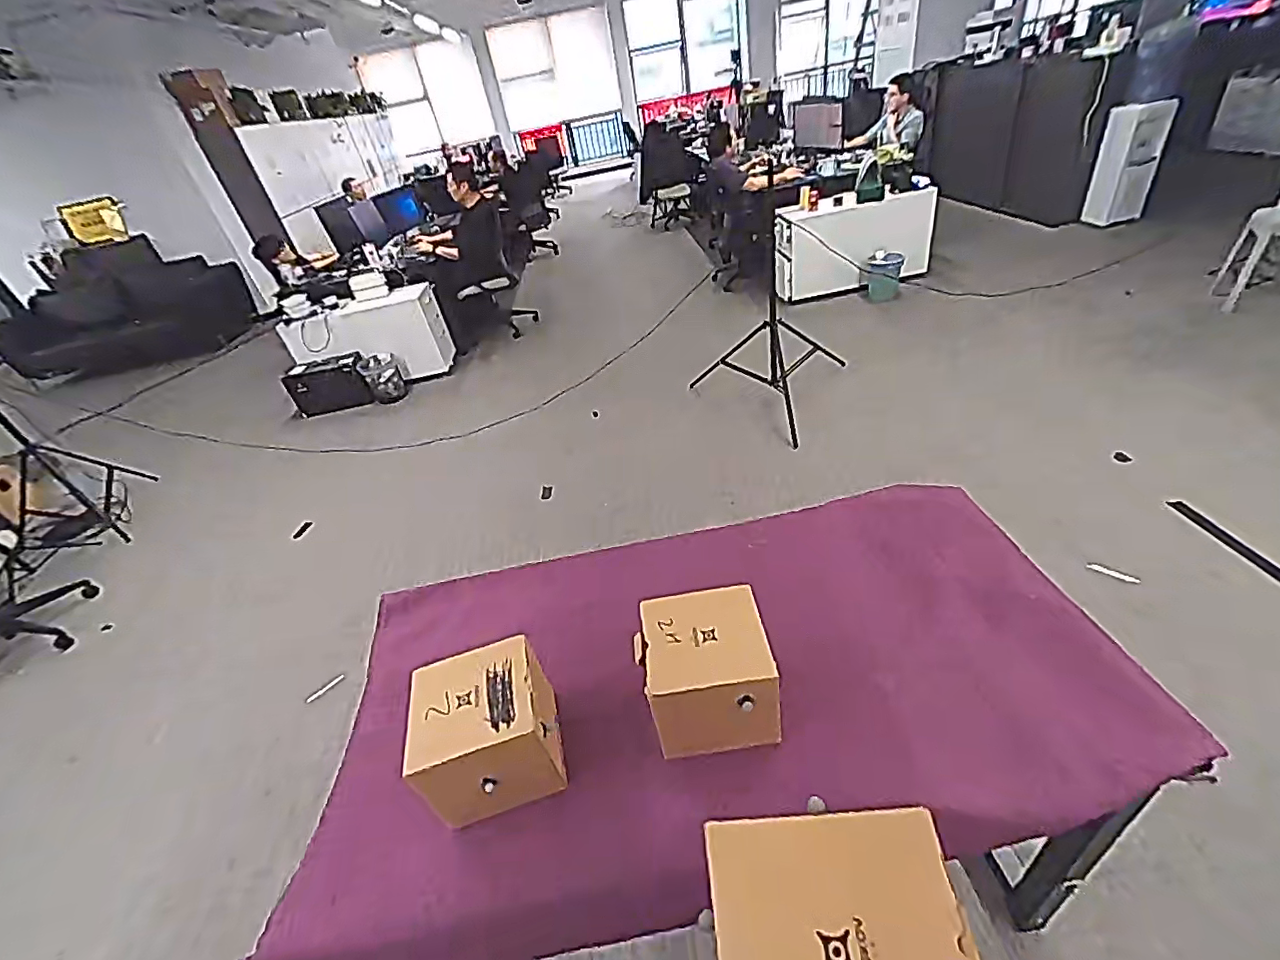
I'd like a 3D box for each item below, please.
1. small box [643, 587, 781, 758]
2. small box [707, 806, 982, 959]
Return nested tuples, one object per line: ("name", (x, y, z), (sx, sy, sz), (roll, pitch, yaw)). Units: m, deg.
("small box", (0.107, 0.291, 0.816), (0.179, 0.176, 0.168), (-11, 35, 3))
("small box", (0.152, 0.375, 0.431), (0.179, 0.176, 0.168), (-6, 49, 4))
